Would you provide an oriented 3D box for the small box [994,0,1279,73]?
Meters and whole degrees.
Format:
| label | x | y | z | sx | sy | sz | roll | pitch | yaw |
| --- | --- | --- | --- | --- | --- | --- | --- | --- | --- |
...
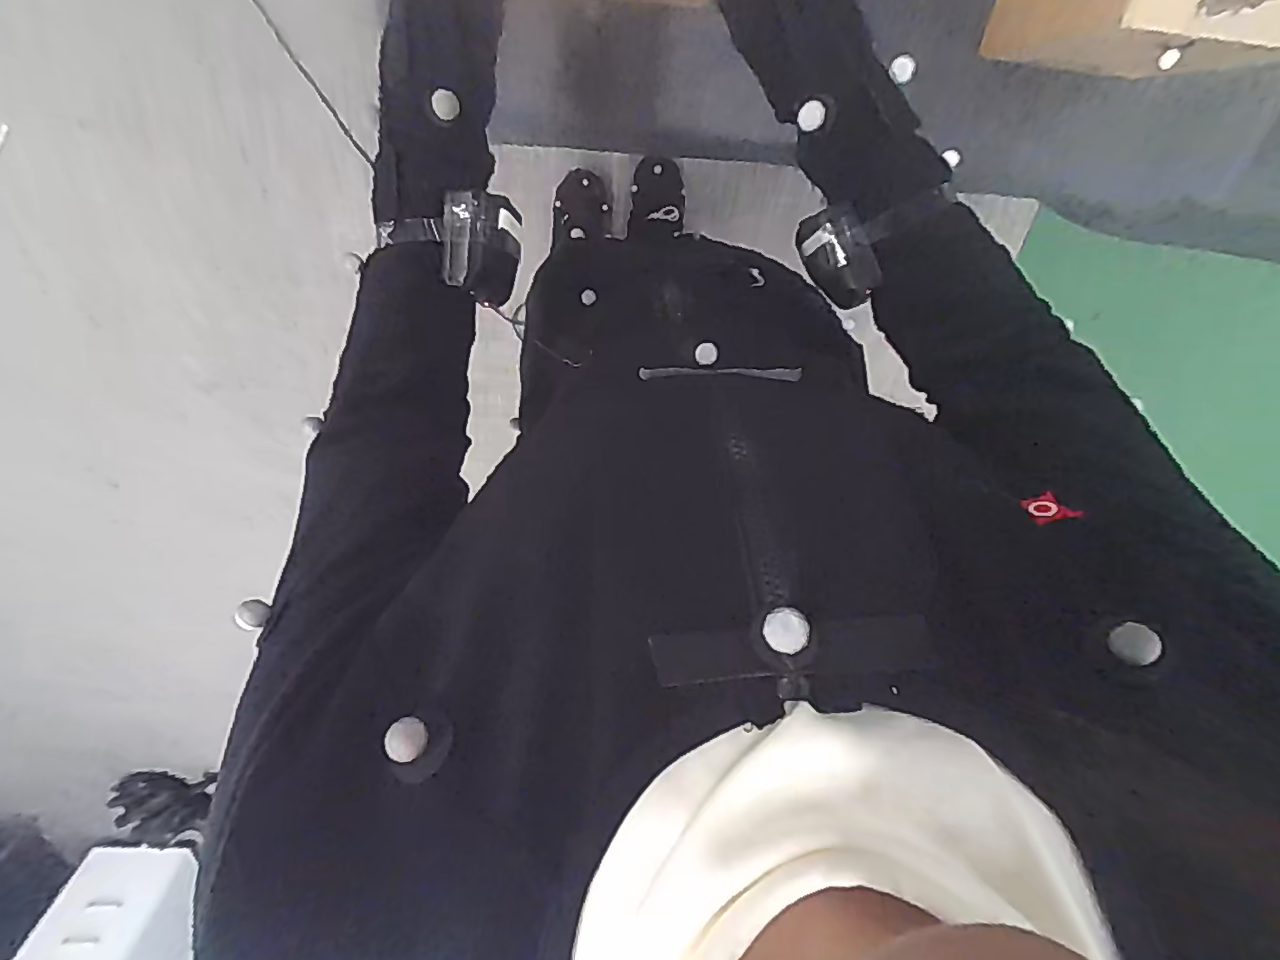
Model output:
| label | x | y | z | sx | sy | sz | roll | pitch | yaw |
| --- | --- | --- | --- | --- | --- | --- | --- | --- | --- |
| small box | 0.403 | -0.418 | 0.387 | 0.168 | 0.176 | 0.179 | 3 | 122 | -5 |
